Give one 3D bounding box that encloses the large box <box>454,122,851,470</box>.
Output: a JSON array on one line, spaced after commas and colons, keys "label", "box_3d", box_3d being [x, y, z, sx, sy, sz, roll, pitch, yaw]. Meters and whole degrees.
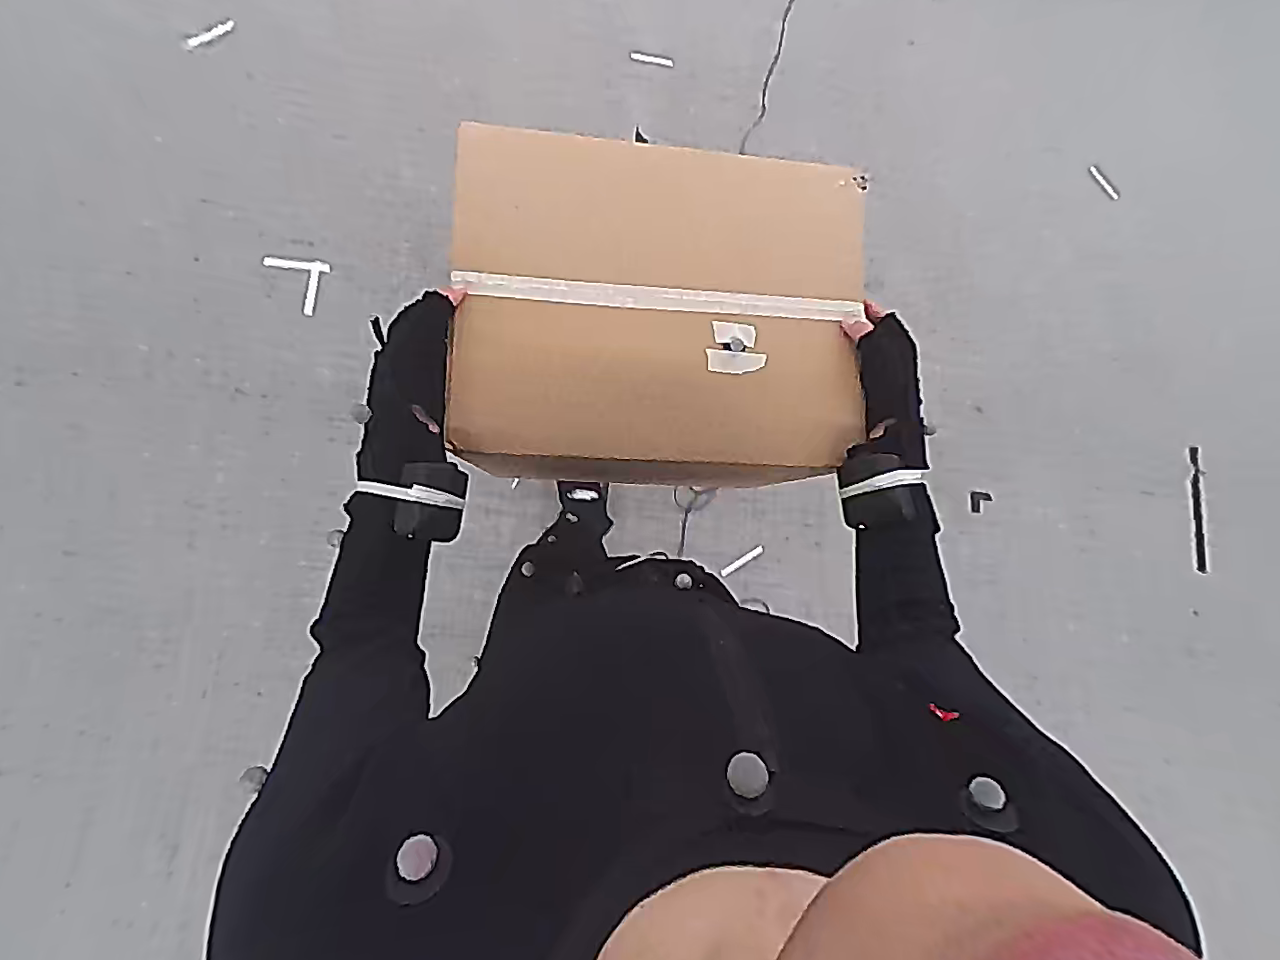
[{"label": "large box", "box_3d": [0.001, -0.181, 0.686, 0.408, 0.320, 0.320, 2, 87, -8]}]
